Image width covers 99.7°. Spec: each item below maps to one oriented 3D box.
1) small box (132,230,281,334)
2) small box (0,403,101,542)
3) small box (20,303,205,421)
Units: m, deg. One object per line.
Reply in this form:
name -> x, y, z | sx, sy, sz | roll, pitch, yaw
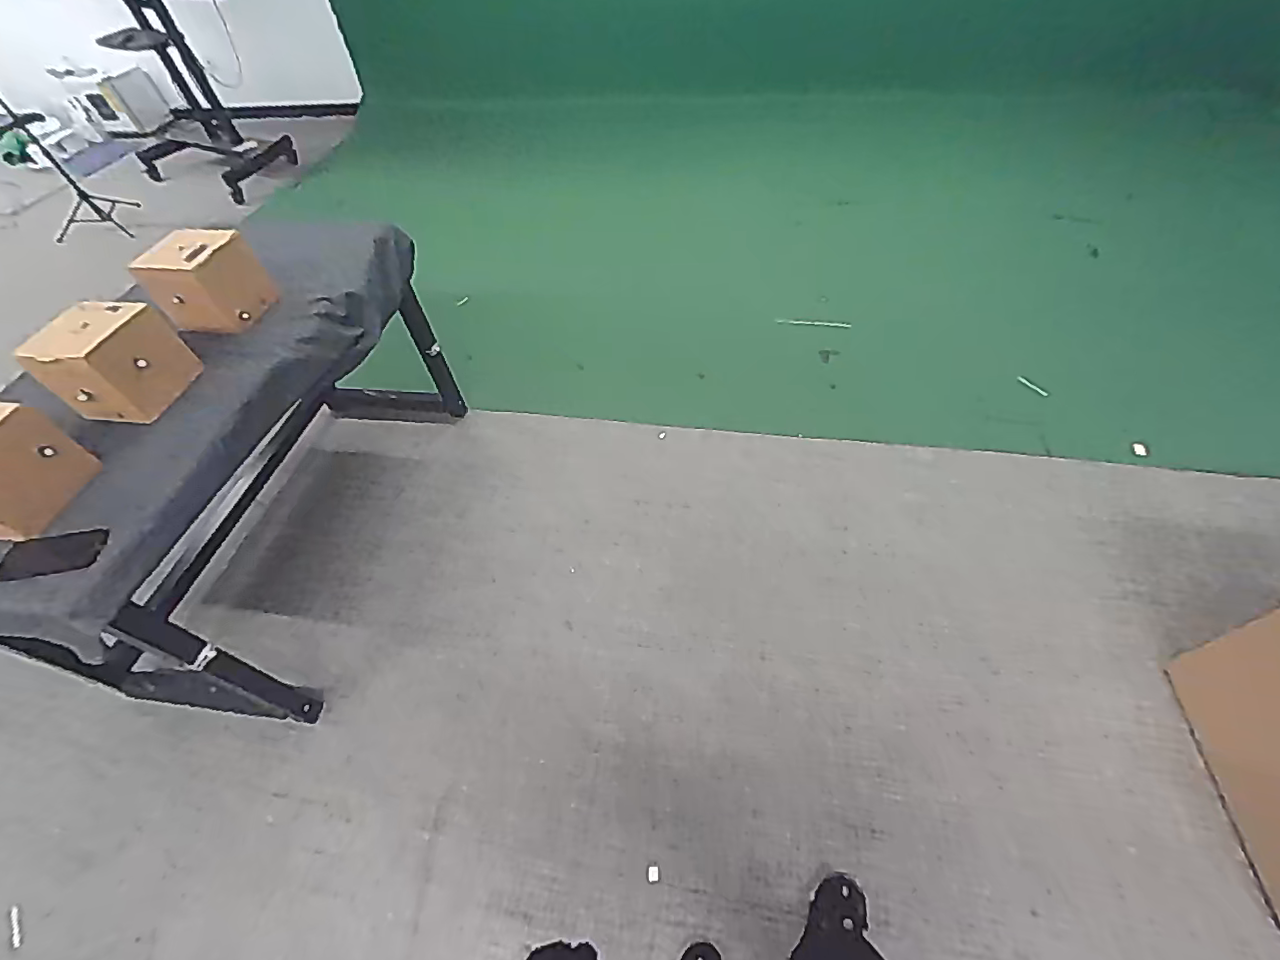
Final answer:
small box -> -0.999, -0.461, 1.268 | 0.179, 0.176, 0.168 | 5, 53, 11
small box -> -1.104, -0.014, 0.930 | 0.168, 0.176, 0.179 | 2, 53, 8
small box -> -1.049, -0.237, 1.098 | 0.168, 0.176, 0.179 | 4, 53, 8
